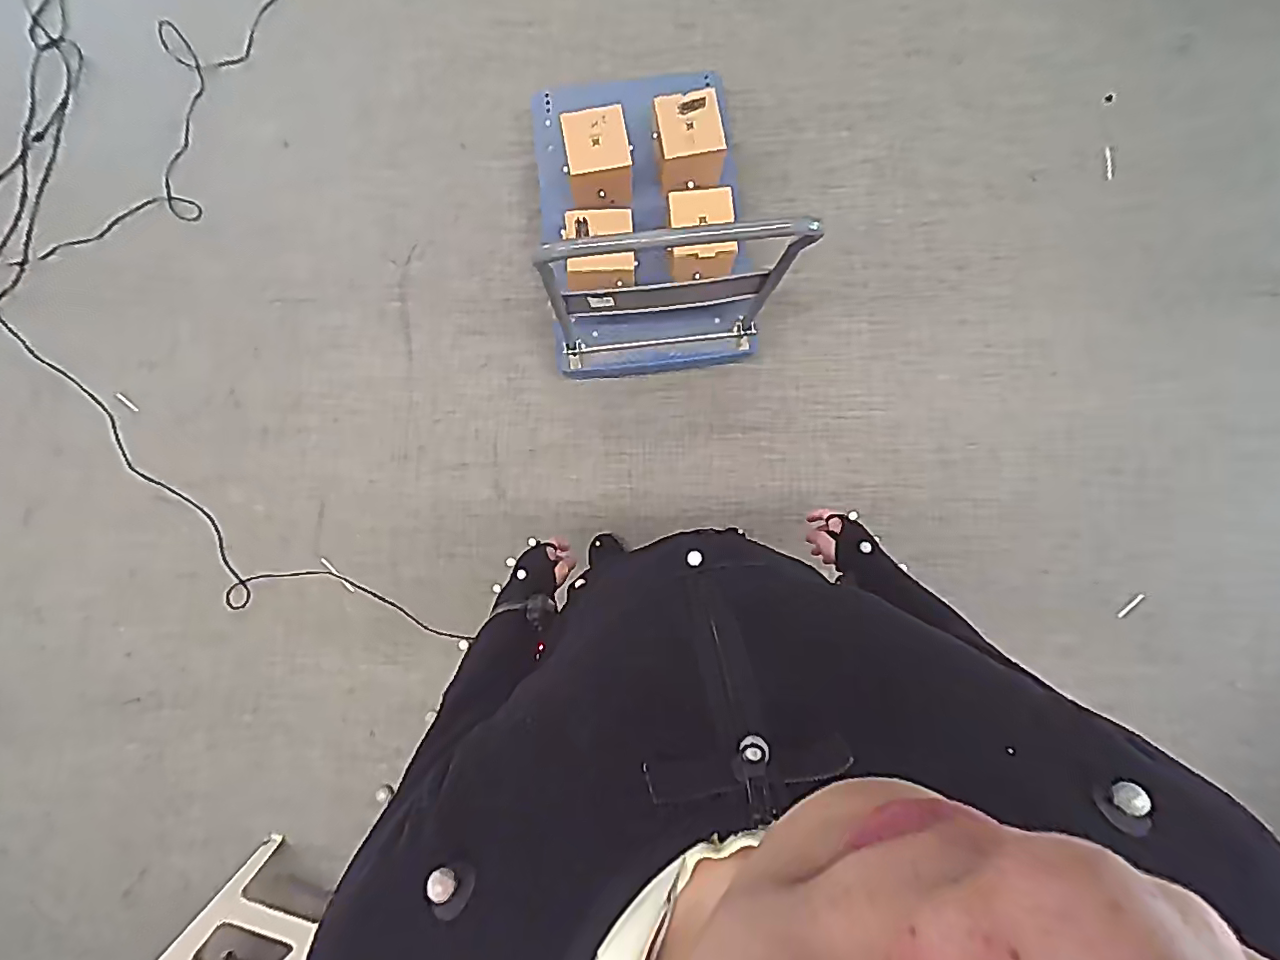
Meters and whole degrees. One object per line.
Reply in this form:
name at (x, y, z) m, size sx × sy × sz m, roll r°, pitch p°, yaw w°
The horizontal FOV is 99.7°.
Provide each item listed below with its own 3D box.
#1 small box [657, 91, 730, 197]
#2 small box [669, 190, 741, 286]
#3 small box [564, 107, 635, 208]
small box at (0.141, -0.921, 1.493) m, size 0.168 × 0.176 × 0.179 m, roll -10°, pitch 86°, yaw 0°
small box at (0.171, -0.653, 1.471) m, size 0.168 × 0.176 × 0.179 m, roll -5°, pitch 85°, yaw 0°
small box at (-0.106, -0.877, 1.491) m, size 0.168 × 0.176 × 0.179 m, roll -10°, pitch 85°, yaw -1°
